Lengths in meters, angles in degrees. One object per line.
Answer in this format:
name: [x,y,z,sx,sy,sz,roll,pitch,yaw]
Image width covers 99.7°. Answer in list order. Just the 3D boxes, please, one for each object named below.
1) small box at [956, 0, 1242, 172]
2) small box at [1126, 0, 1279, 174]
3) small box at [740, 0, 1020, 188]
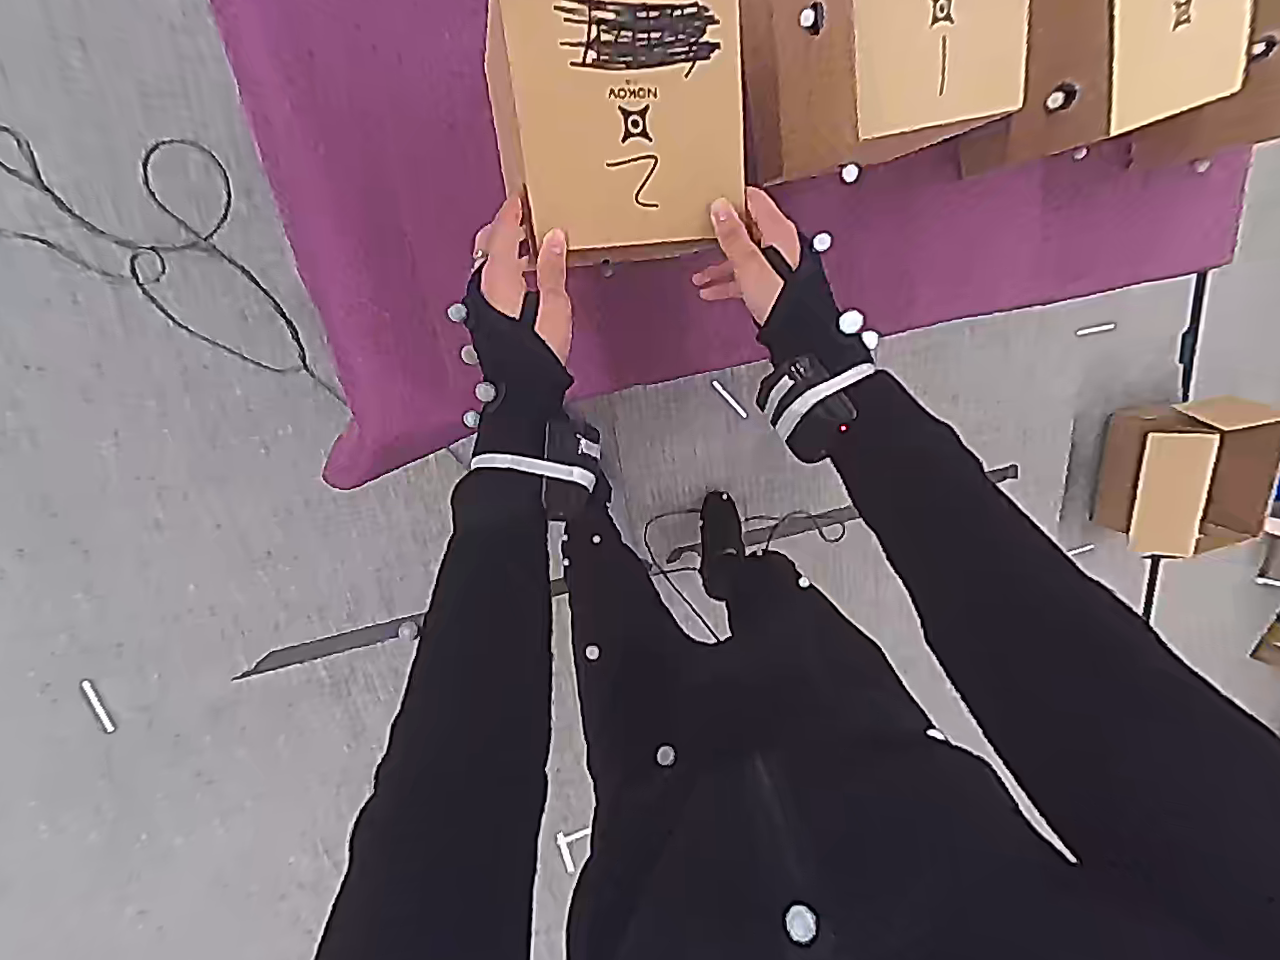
small box: [0.449,-0.439,0.553,0.168,0.176,0.179,-23,110,-10]
small box: [0.710,-0.480,0.620,0.168,0.176,0.179,-17,109,-11]
small box: [0.206,-0.392,0.494,0.168,0.176,0.179,-17,110,-11]
